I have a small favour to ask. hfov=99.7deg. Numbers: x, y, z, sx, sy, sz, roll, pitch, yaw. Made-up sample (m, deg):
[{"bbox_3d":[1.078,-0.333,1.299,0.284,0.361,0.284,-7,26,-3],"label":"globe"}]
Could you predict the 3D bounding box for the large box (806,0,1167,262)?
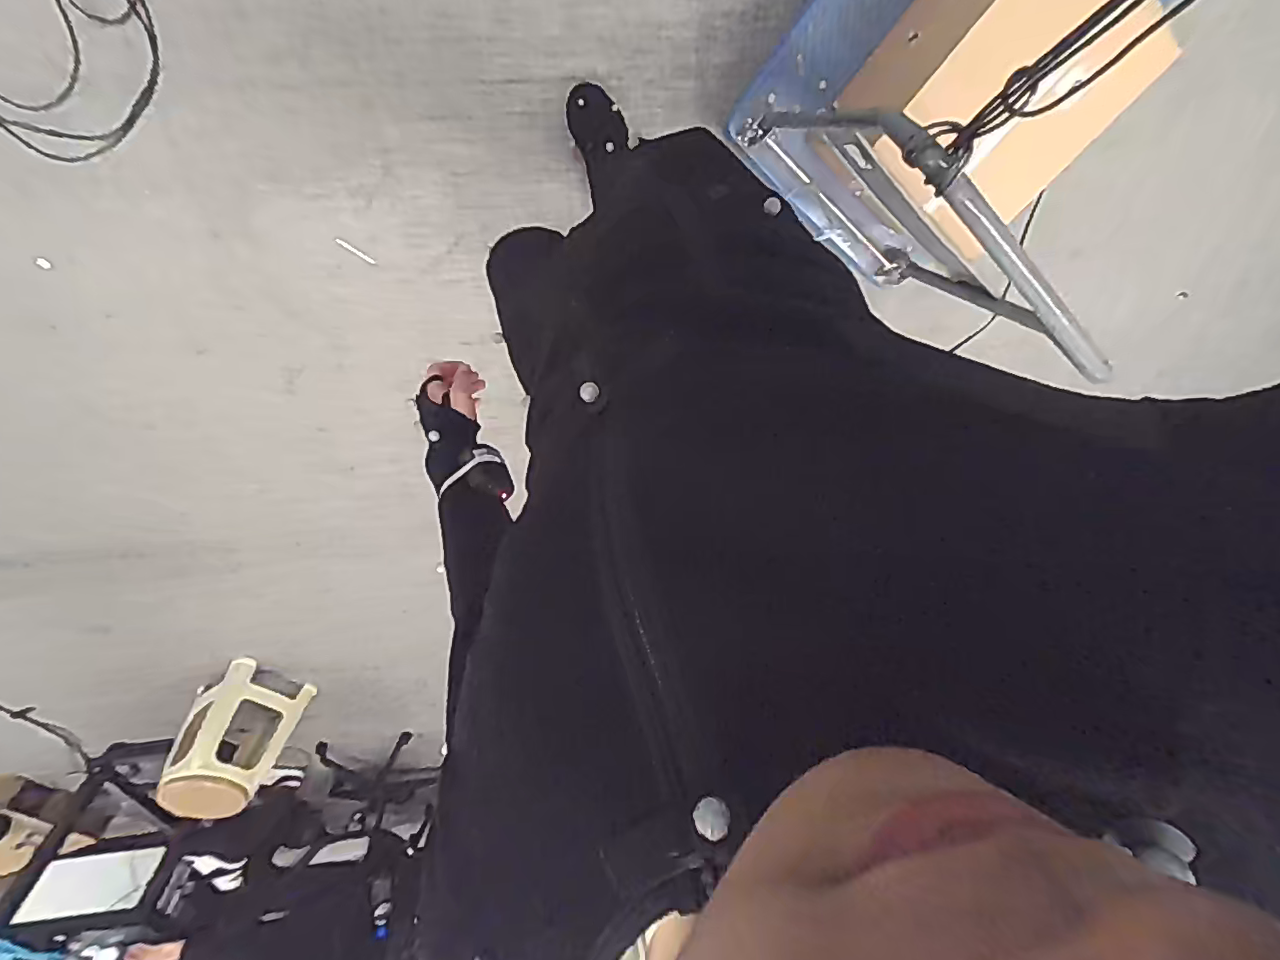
[{"bbox_3d":[0.597,-0.698,1.008,0.320,0.320,0.408,30,117,-25],"label":"large box"}]
